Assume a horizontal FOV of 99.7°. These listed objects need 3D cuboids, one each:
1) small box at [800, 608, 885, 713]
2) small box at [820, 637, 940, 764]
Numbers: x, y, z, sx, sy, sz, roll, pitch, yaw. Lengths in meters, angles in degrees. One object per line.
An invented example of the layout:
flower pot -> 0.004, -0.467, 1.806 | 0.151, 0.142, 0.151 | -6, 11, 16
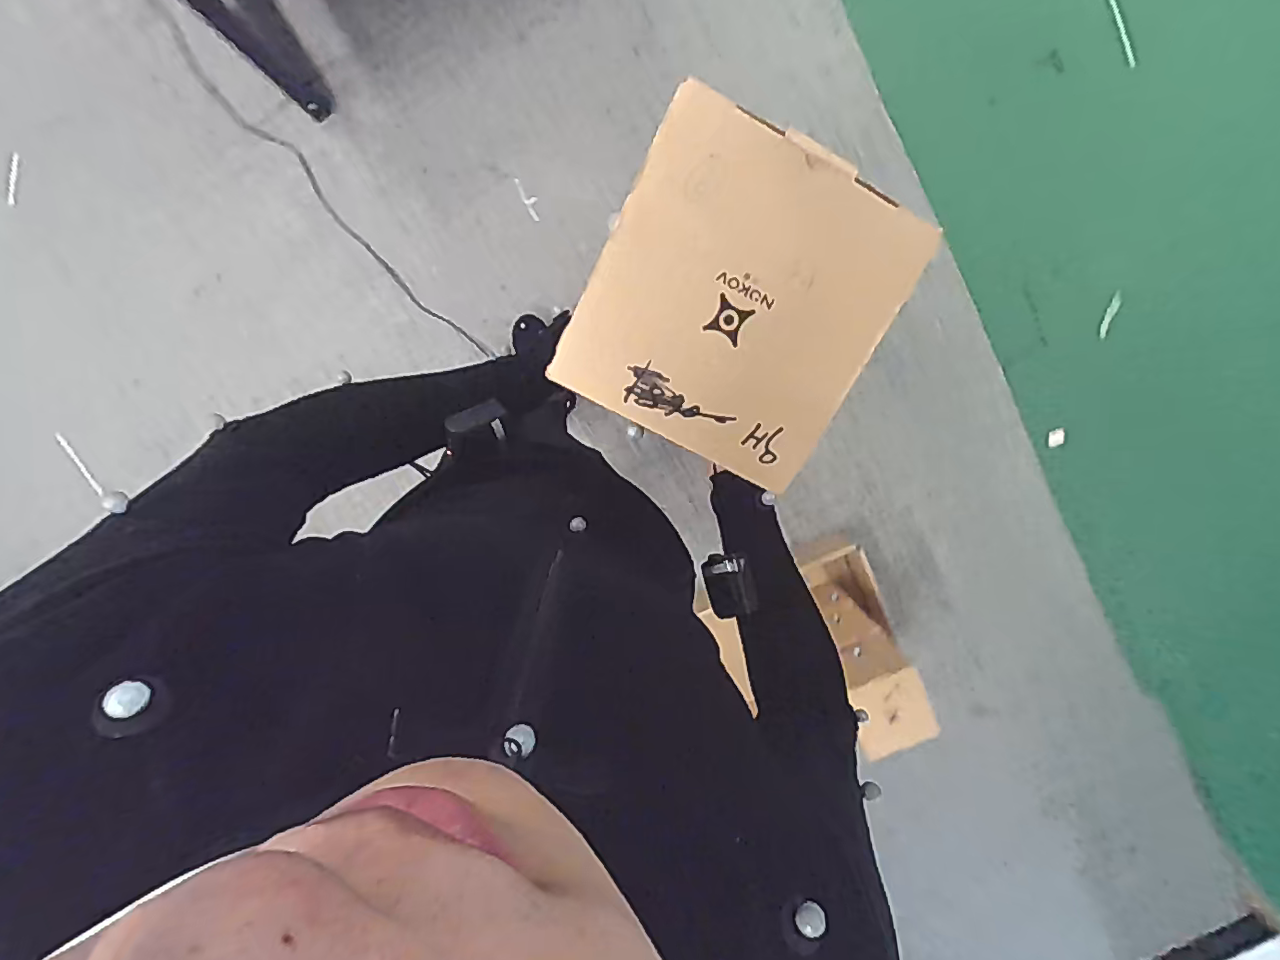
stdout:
small box -> 0.534, 0.459, 1.384 | 0.168, 0.176, 0.179 | -23, 98, 3
small box -> 0.534, 0.490, 1.222 | 0.168, 0.176, 0.179 | -23, 98, 3
